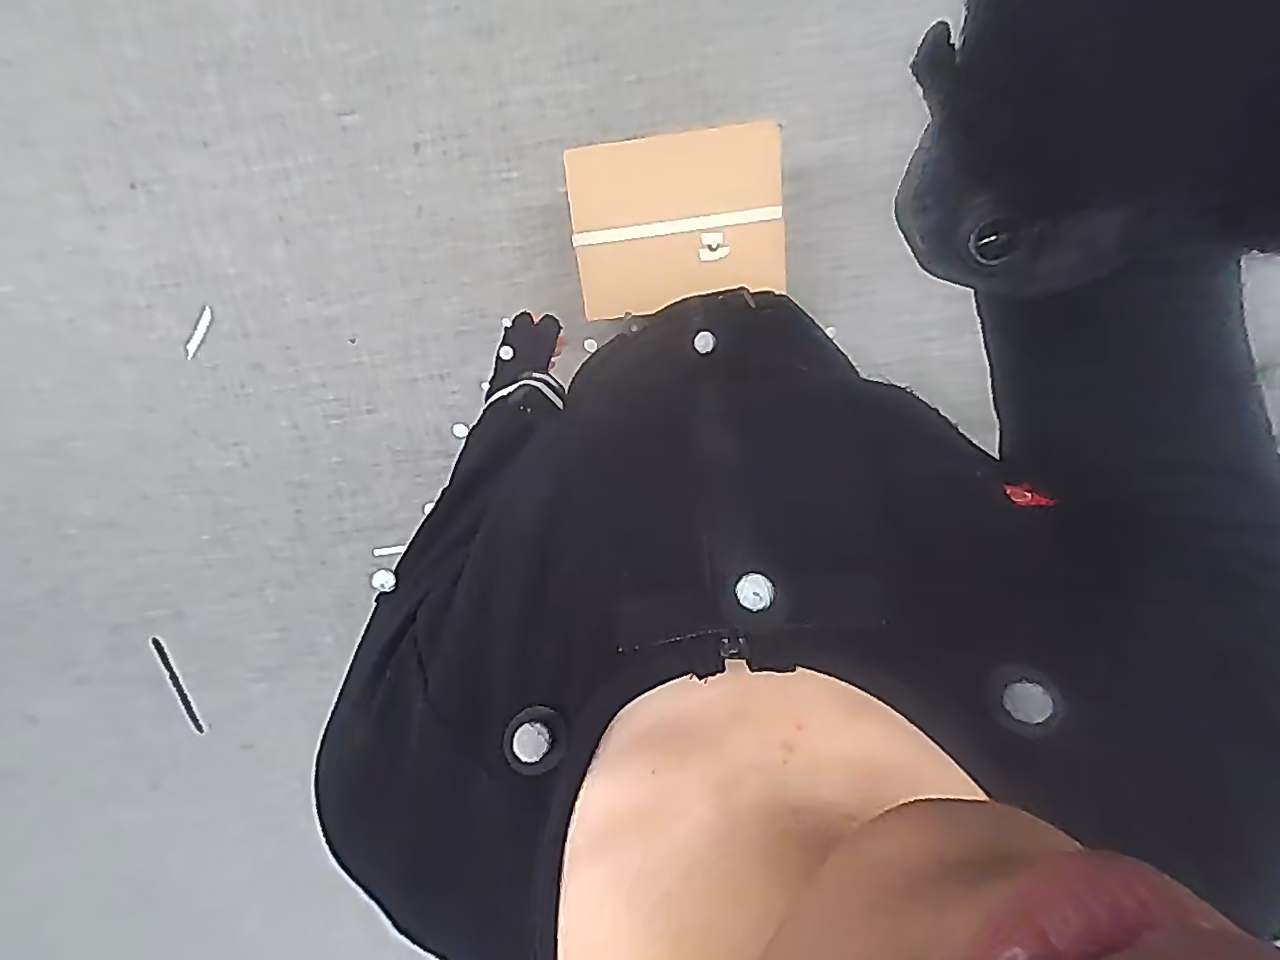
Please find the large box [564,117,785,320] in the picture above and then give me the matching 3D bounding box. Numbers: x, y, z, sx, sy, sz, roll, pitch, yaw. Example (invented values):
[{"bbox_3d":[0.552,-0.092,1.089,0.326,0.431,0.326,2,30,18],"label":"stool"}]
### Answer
[{"bbox_3d":[0.077,-0.541,1.187,0.408,0.320,0.320,-6,108,5],"label":"large box"}]
